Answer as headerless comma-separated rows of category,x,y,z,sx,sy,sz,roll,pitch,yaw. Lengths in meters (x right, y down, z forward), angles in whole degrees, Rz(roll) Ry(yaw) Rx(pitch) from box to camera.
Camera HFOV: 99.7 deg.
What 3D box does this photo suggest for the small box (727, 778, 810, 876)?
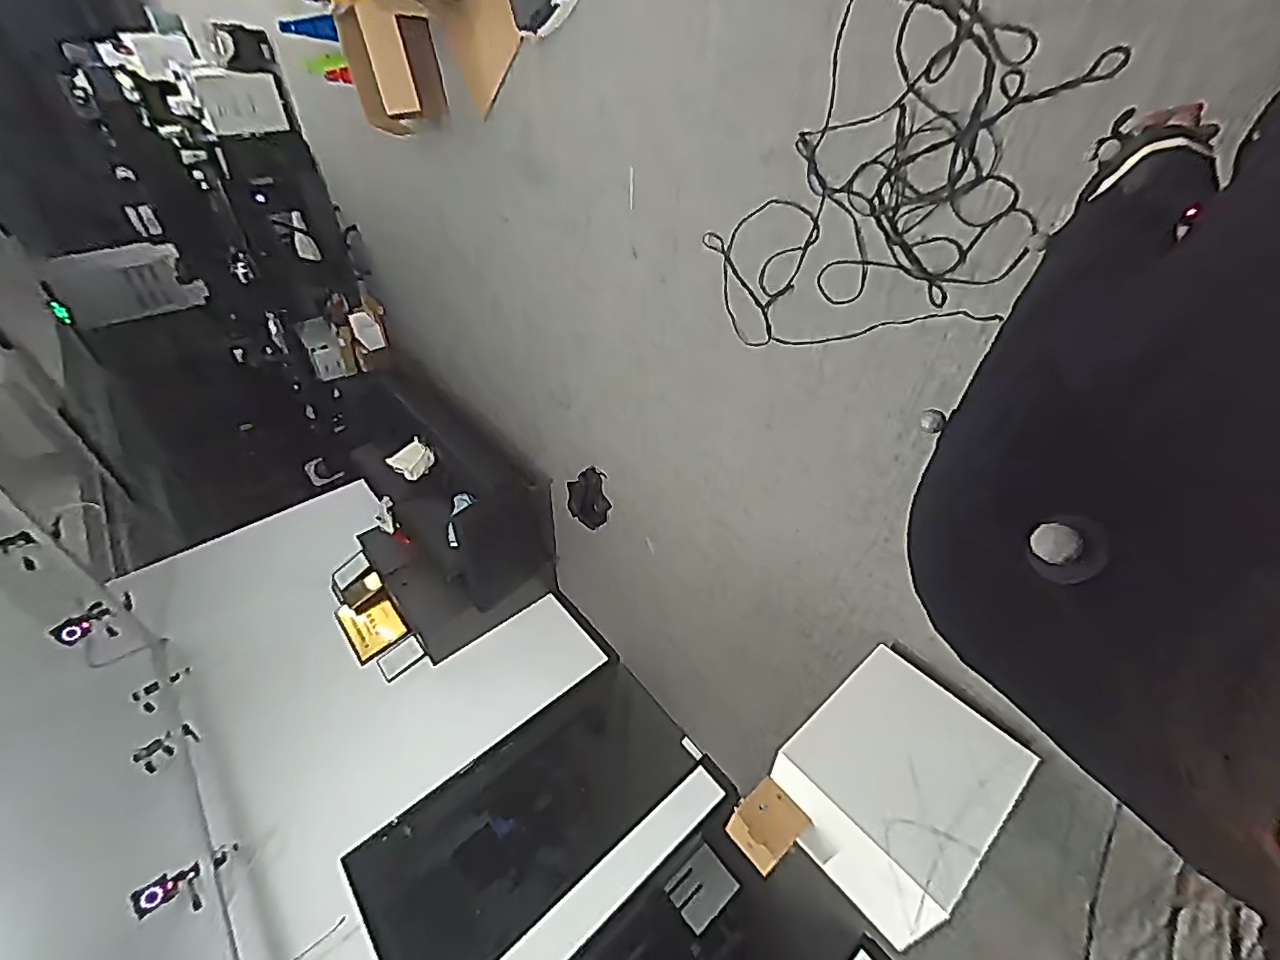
small box,0.394,1.056,1.657,0.168,0.176,0.179,40,144,33
